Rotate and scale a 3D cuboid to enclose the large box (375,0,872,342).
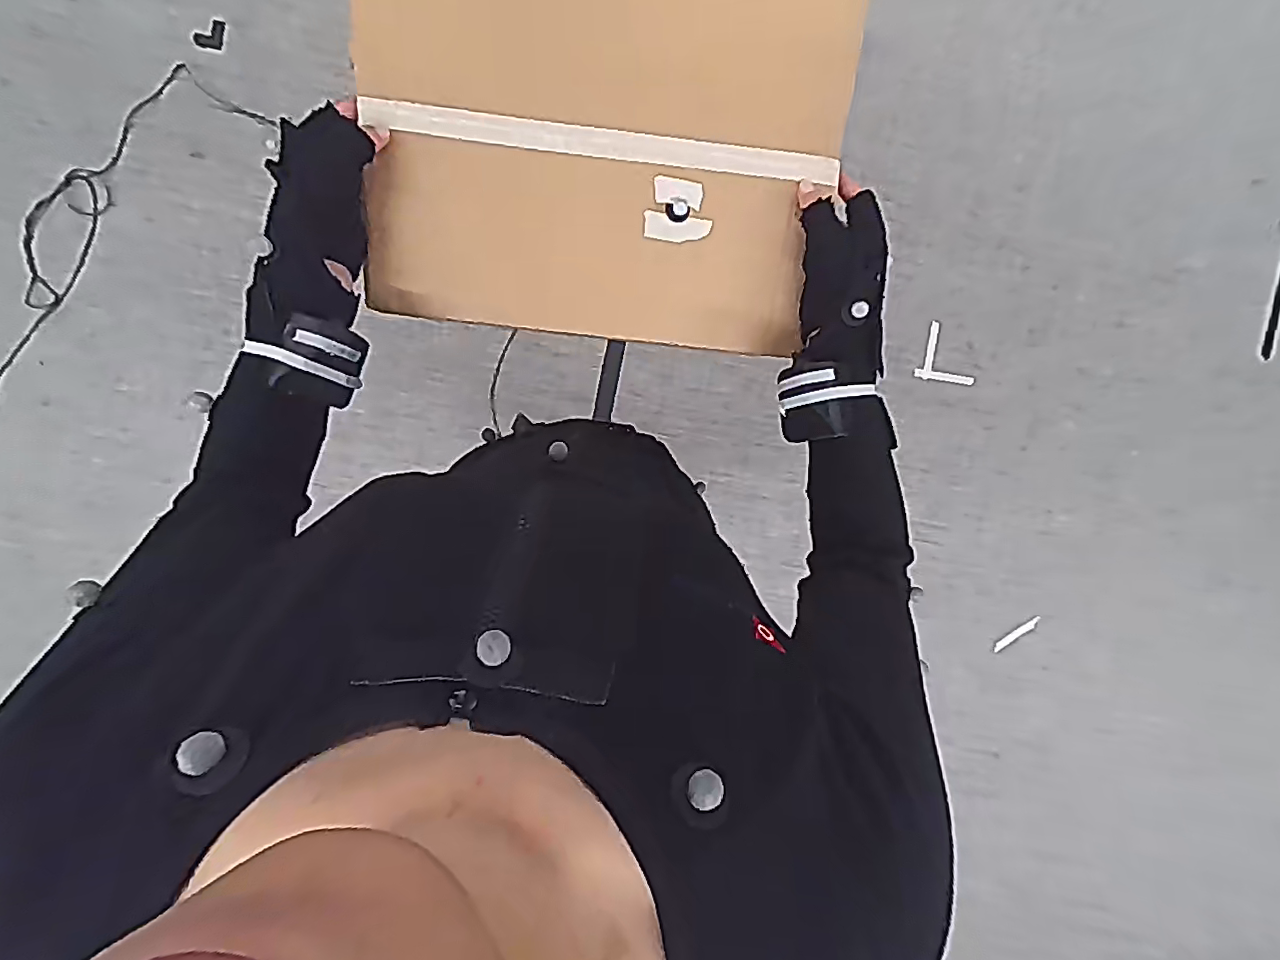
[{"bbox_3d":[-0.028,-0.333,0.602,0.408,0.320,0.320,5,107,-5],"label":"large box"}]
